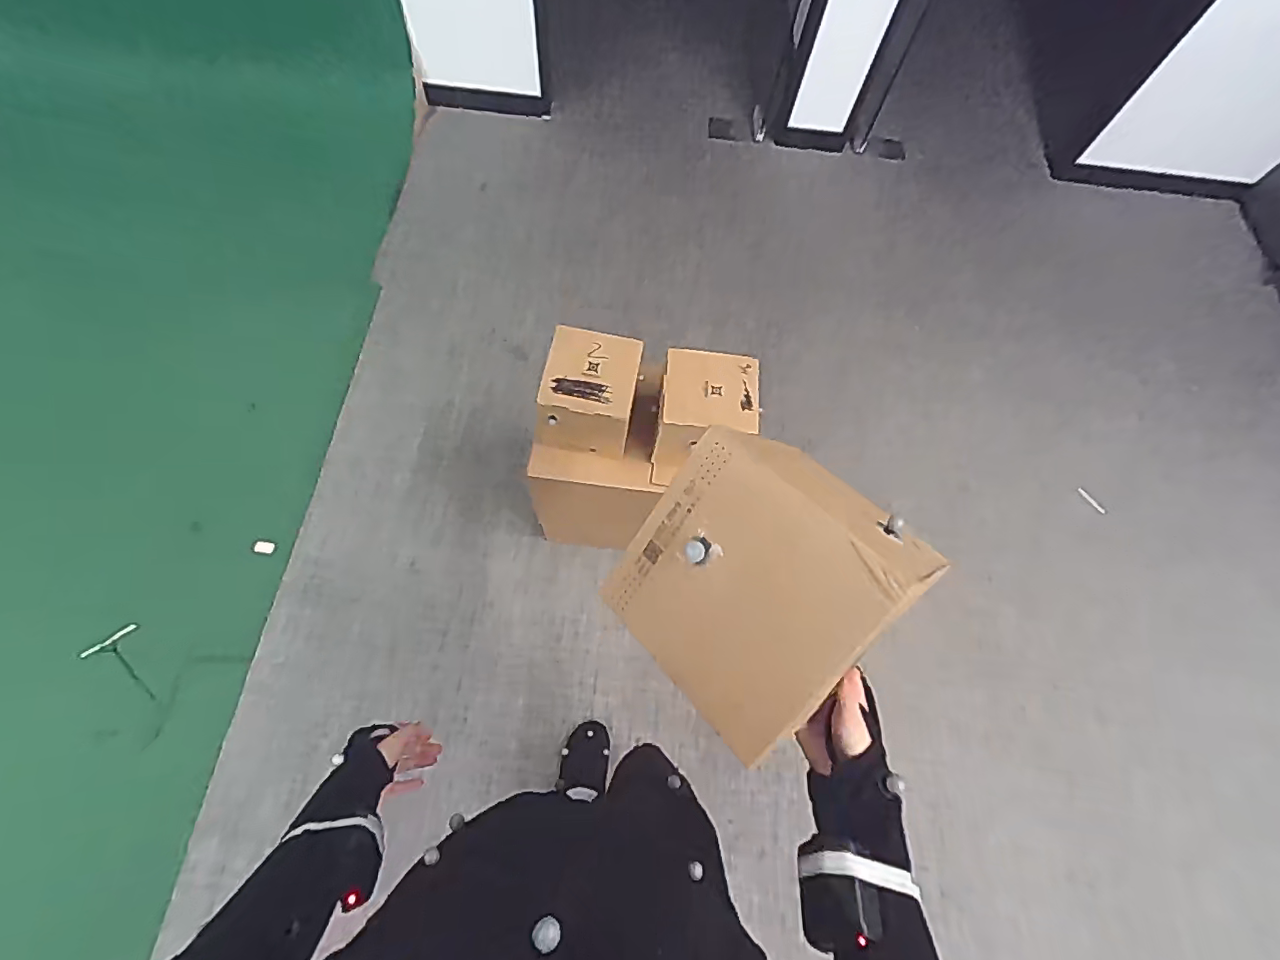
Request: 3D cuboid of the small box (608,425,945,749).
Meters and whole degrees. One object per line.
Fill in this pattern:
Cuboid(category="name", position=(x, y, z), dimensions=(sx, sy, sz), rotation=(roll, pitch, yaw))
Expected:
Cuboid(category="small box", position=(0.109, 0.072, 0.443), dimensions=(0.176, 0.179, 0.168), rotation=(43, 111, 31))
